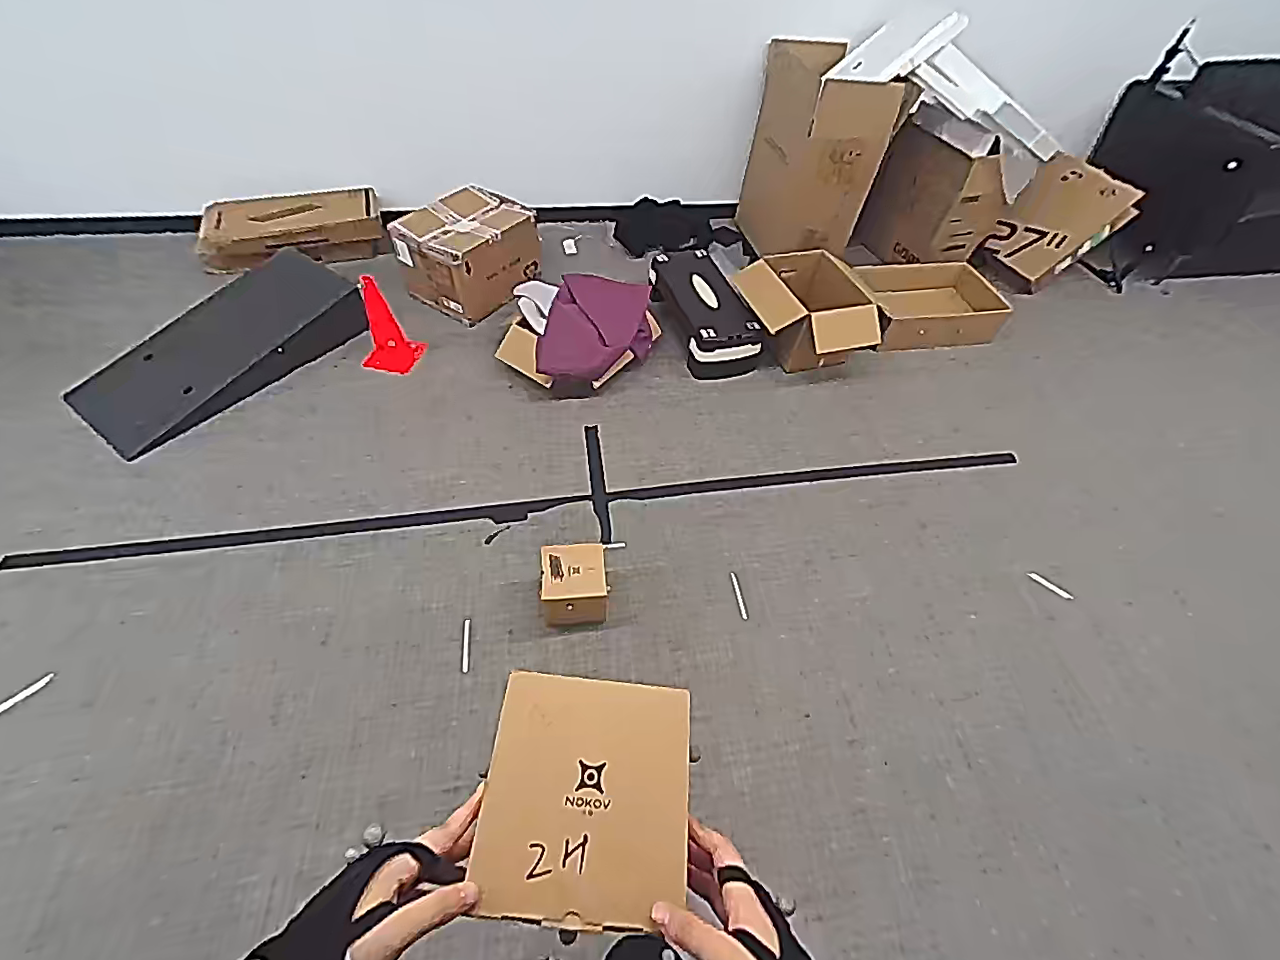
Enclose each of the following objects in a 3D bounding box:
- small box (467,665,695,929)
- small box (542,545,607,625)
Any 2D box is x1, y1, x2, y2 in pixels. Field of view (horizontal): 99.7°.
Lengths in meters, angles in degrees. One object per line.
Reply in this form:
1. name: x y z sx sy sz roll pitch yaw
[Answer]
1. small box: -0.046 0.294 0.503 0.168 0.176 0.179 7 53 -2
2. small box: -0.184 0.301 1.537 0.179 0.176 0.168 -3 52 -7
